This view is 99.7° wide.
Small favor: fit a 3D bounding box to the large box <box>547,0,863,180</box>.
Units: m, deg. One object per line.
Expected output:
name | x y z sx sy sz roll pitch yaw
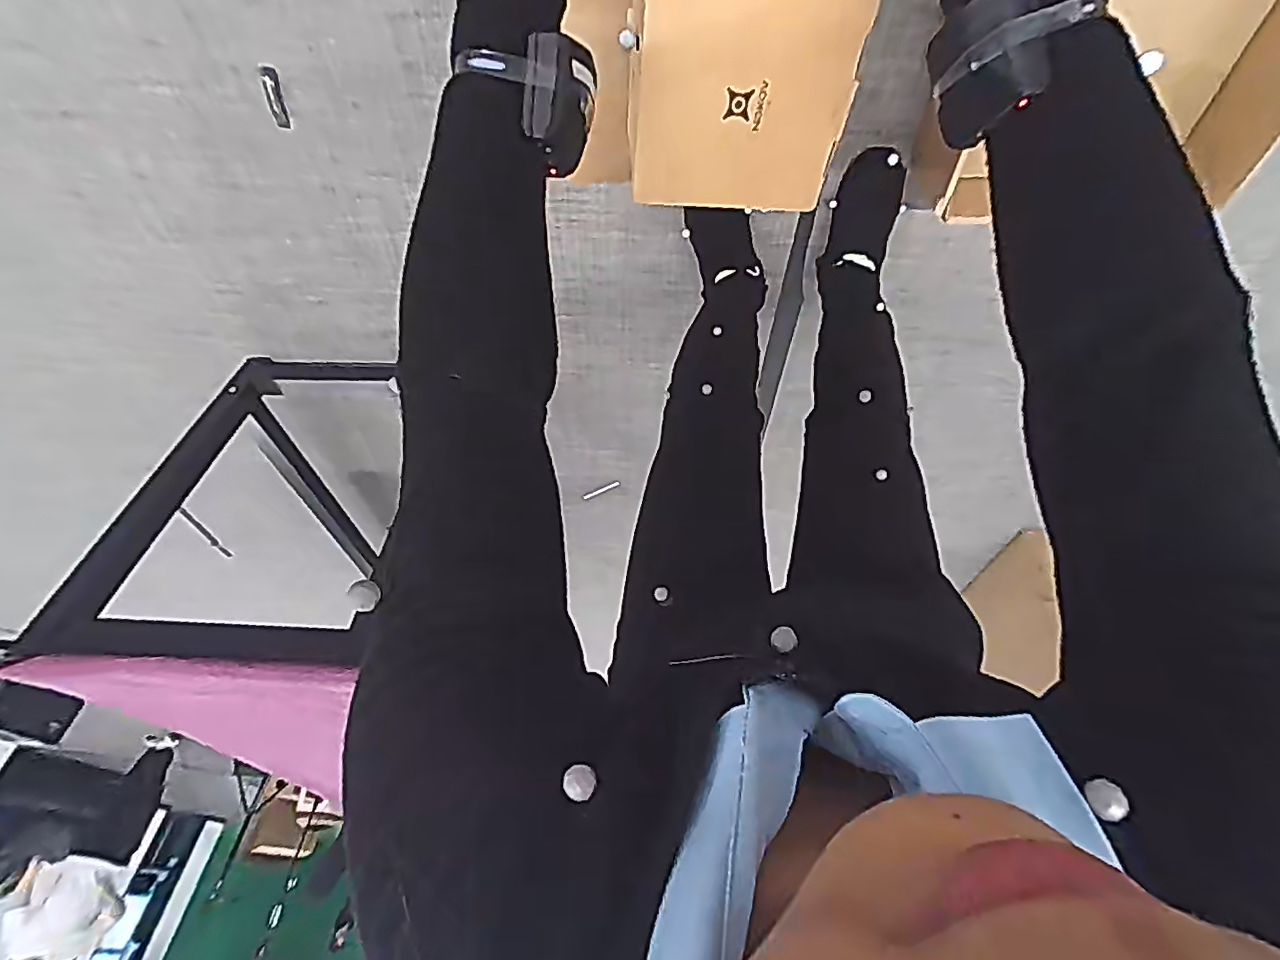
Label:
large box | 0.064 -0.611 0.587 0.320 0.320 0.408 0 141 5
